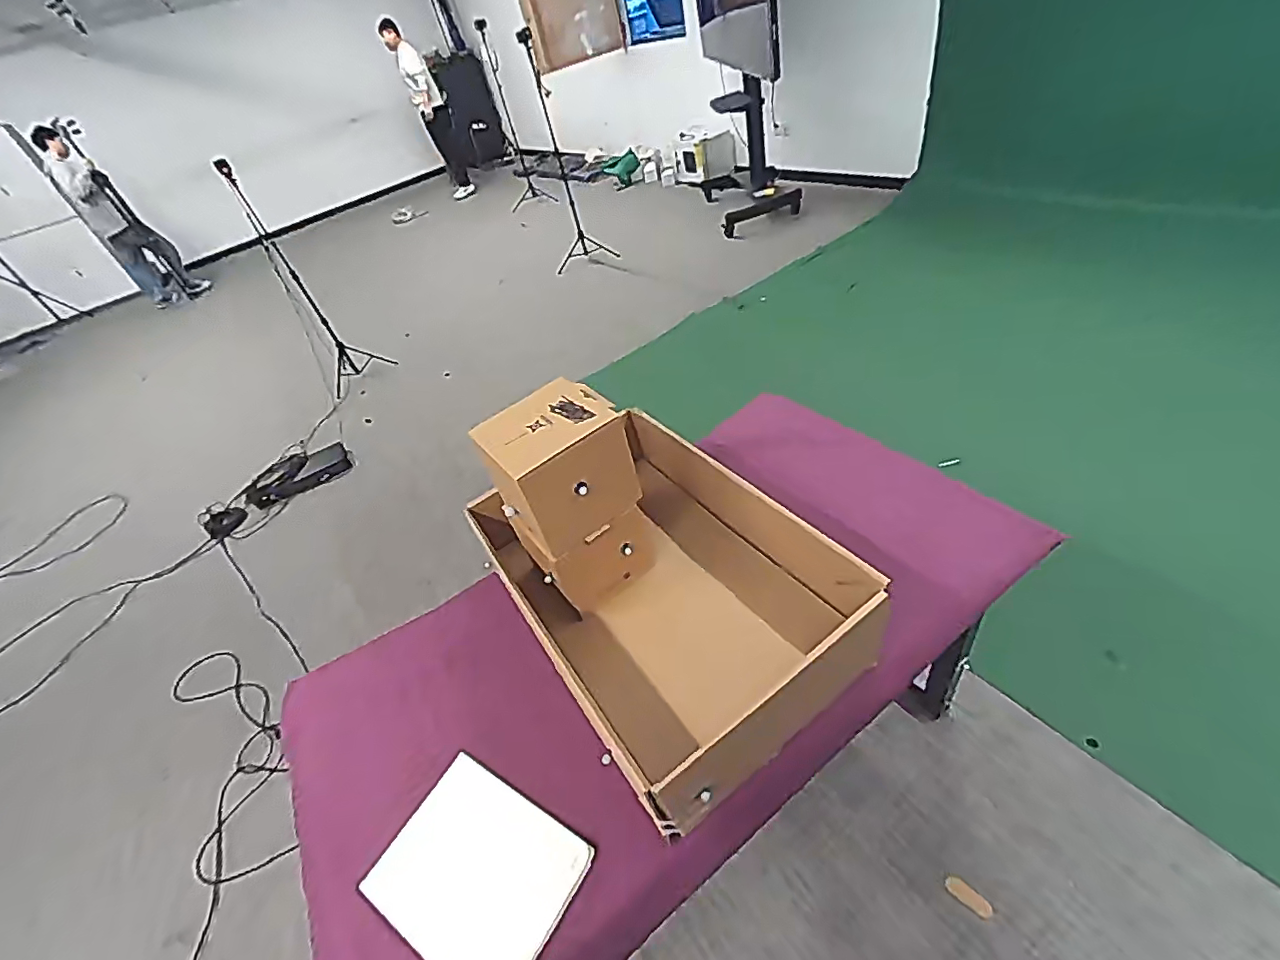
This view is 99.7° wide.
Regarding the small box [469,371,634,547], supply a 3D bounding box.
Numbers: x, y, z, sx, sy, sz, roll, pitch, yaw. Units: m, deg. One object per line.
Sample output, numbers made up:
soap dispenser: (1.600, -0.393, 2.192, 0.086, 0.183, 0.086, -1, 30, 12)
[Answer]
small box: (-0.125, -0.034, 0.829, 0.179, 0.176, 0.168, -35, 46, -19)
